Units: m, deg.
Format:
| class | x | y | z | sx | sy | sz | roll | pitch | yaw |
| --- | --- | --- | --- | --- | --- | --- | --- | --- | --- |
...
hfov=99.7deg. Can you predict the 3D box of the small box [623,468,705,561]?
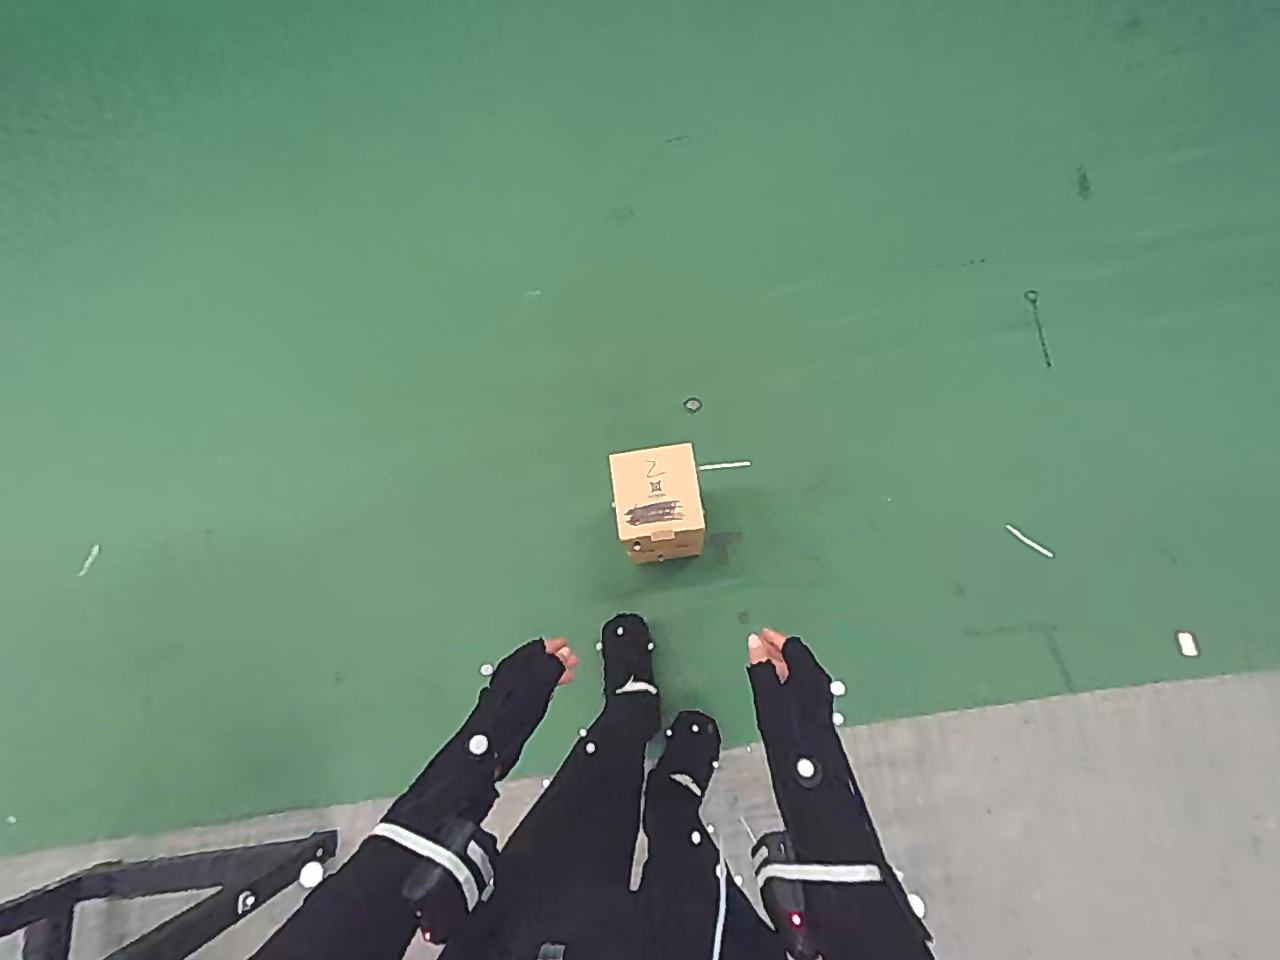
| class | x | y | z | sx | sy | sz | roll | pitch | yaw |
| --- | --- | --- | --- | --- | --- | --- | --- | --- | --- |
| small box | 0.056 | 0.087 | 1.279 | 0.168 | 0.176 | 0.179 | -9 | 75 | 2 |
